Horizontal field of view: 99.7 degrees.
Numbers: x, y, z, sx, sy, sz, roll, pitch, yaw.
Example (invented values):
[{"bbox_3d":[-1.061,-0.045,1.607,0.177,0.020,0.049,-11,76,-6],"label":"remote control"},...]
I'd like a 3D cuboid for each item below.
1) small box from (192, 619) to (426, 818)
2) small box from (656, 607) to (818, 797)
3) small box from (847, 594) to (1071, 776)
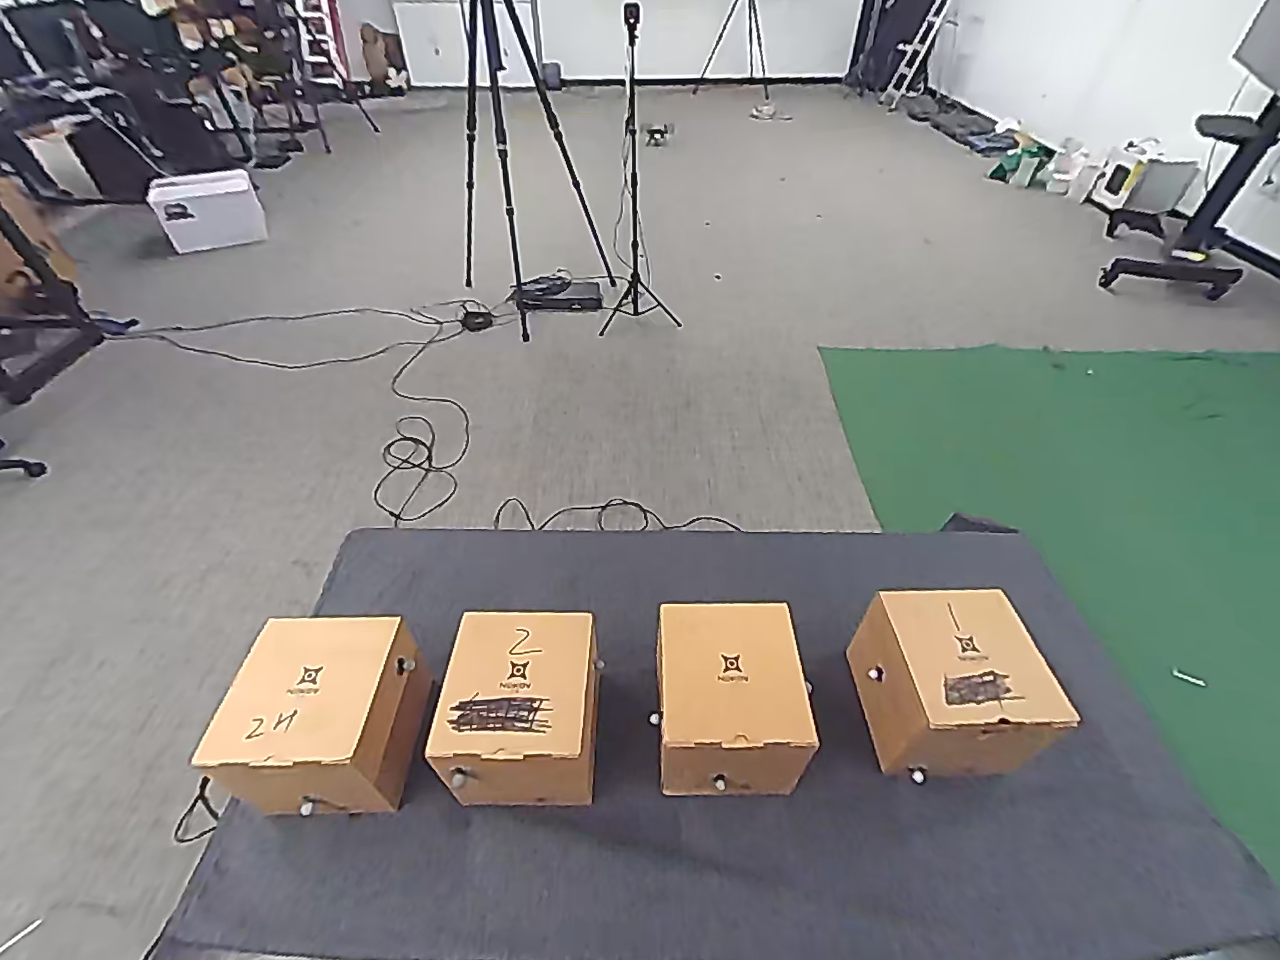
[{"bbox_3d":[-0.380,0.292,0.667,0.168,0.176,0.179,0,43,-2],"label":"small box"},{"bbox_3d":[0.107,0.282,0.689,0.168,0.176,0.179,0,45,-1],"label":"small box"},{"bbox_3d":[0.389,0.268,0.701,0.168,0.176,0.179,0,44,-1],"label":"small box"}]
